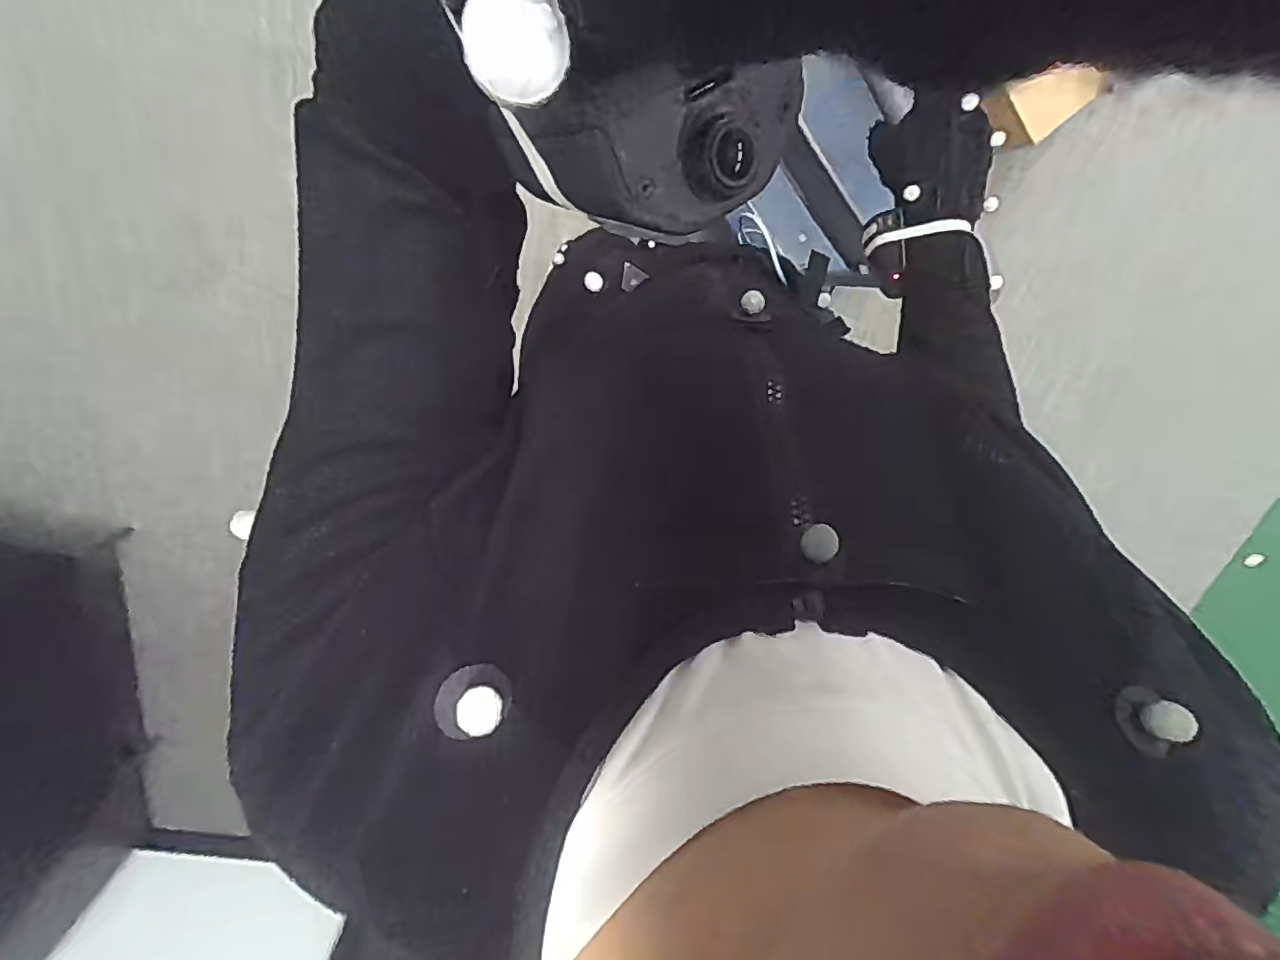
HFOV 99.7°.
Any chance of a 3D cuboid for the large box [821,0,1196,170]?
[{"bbox_3d":[0.564,-0.791,0.863,0.320,0.320,0.408,-41,108,14],"label":"large box"}]
